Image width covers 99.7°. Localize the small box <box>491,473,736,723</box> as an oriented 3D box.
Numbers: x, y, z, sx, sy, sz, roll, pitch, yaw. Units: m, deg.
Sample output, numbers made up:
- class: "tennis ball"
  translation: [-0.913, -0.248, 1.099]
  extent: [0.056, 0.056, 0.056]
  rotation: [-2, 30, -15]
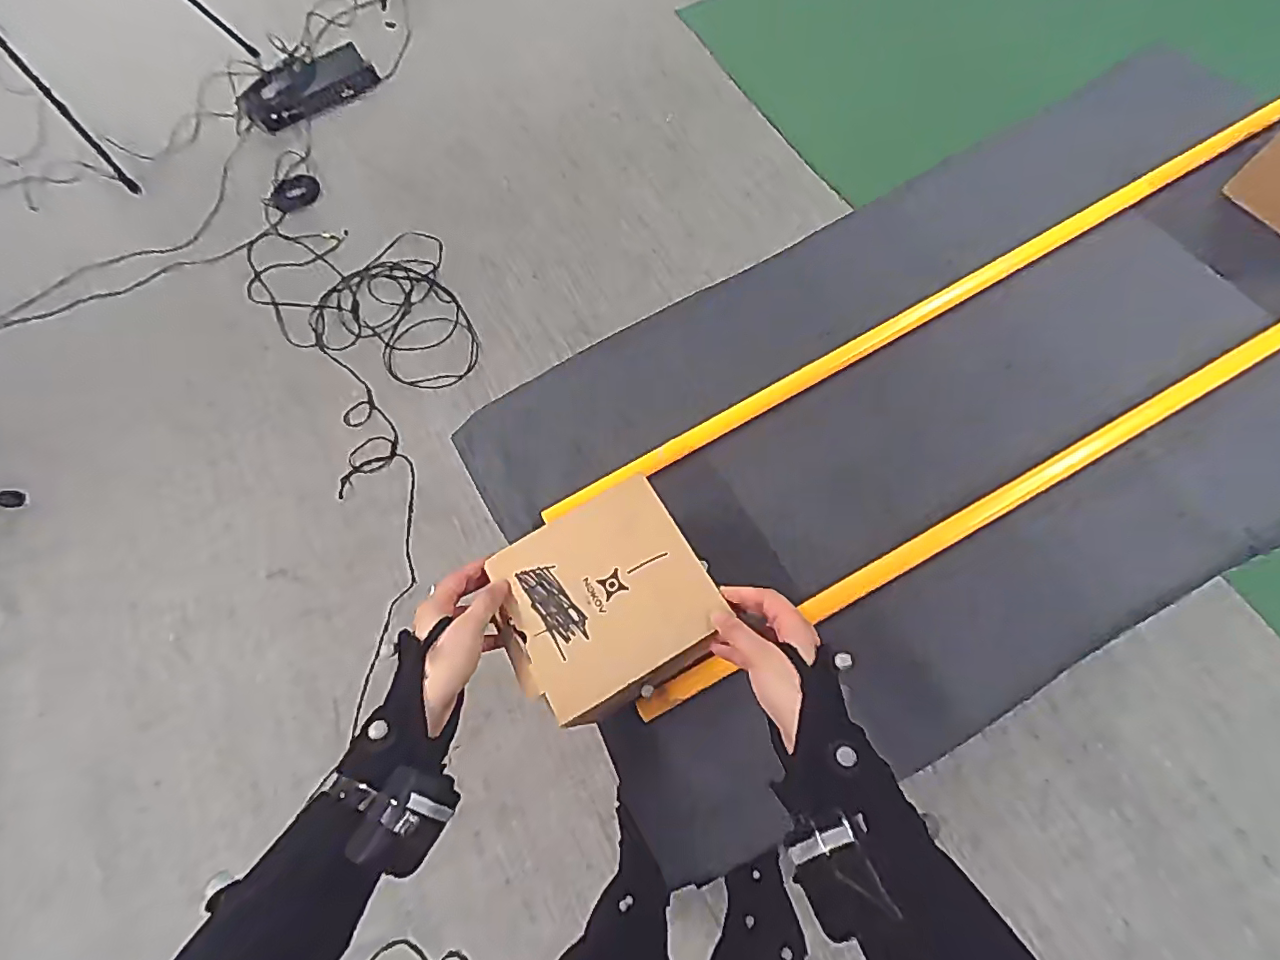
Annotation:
- class: "small box"
  translation: [-0.018, 0.128, 0.557]
  extent: [0.179, 0.176, 0.168]
  rotation: [-31, 68, -6]
